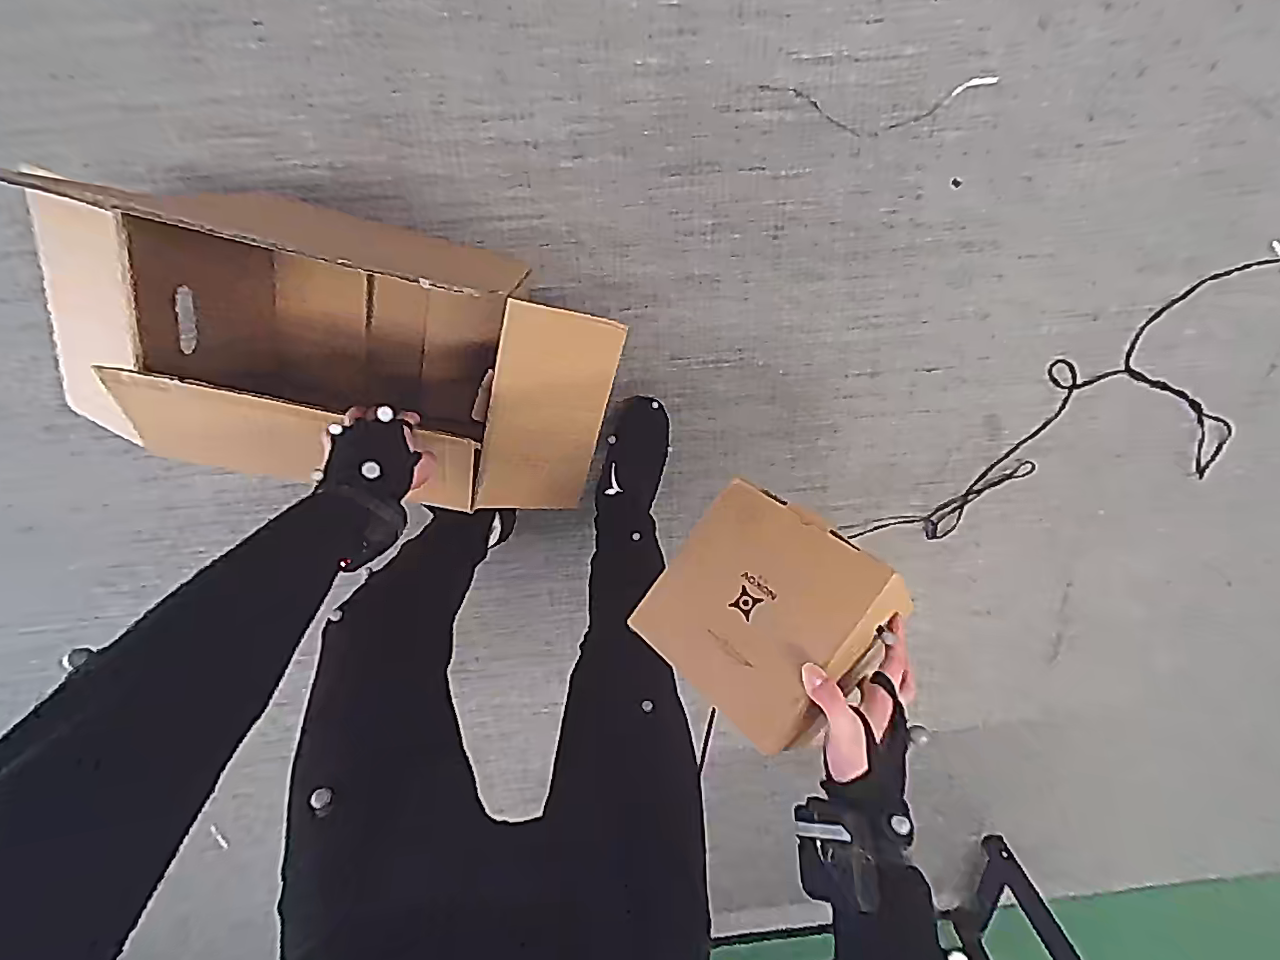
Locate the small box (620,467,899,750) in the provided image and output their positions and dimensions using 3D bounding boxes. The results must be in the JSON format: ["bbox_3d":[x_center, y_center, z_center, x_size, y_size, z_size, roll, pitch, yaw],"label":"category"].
[{"bbox_3d":[0.121,0.123,0.511,0.179,0.168,0.176,-53,141,0],"label":"small box"}]
